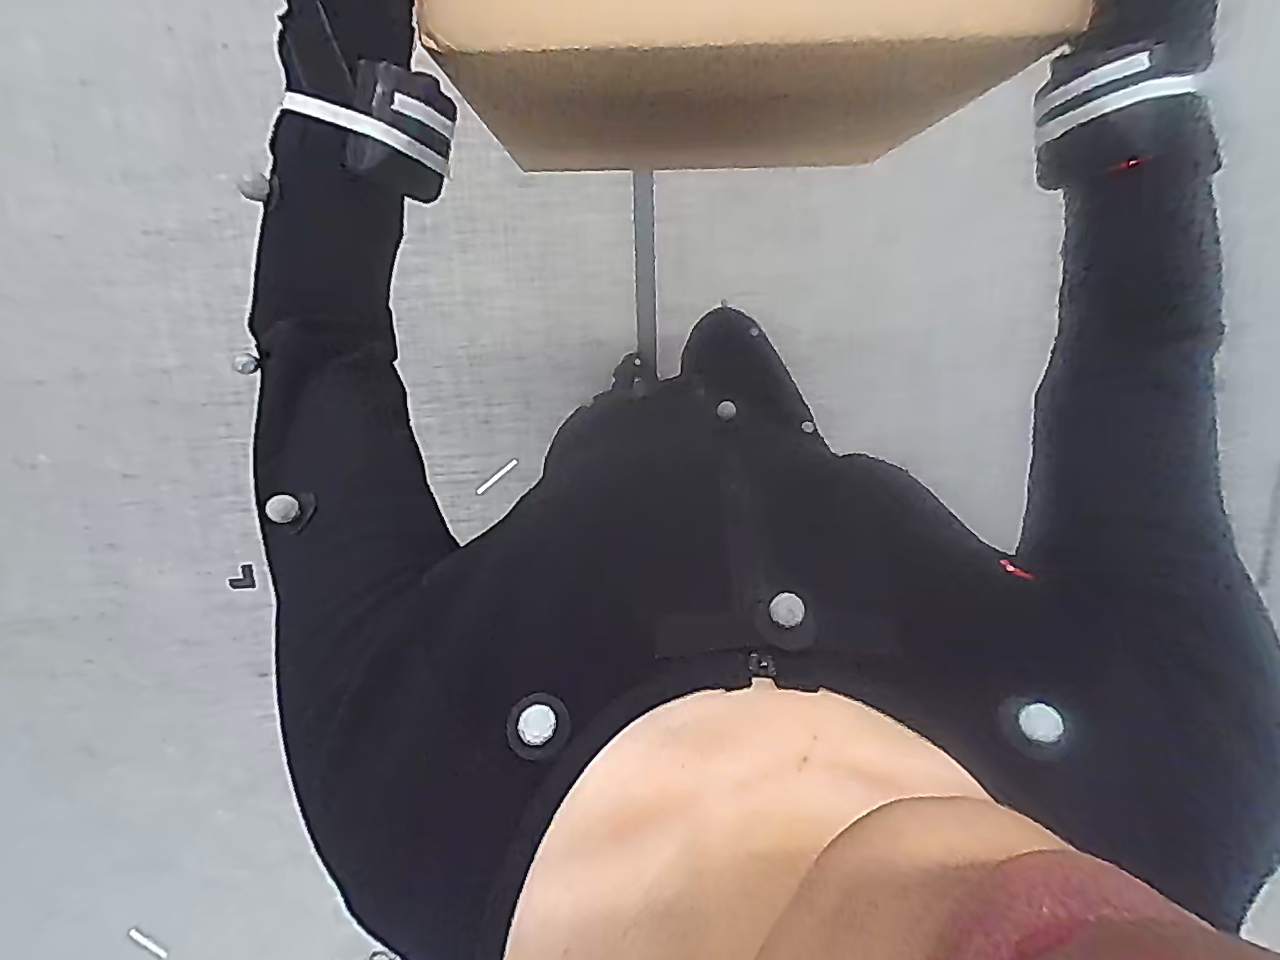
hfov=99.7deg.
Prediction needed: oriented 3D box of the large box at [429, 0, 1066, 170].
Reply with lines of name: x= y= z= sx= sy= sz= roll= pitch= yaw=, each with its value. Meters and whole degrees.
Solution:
large box: x=0.058 y=-0.468 z=0.435 sx=0.408 sy=0.320 sz=0.320 roll=-2 pitch=107 yaw=-1
